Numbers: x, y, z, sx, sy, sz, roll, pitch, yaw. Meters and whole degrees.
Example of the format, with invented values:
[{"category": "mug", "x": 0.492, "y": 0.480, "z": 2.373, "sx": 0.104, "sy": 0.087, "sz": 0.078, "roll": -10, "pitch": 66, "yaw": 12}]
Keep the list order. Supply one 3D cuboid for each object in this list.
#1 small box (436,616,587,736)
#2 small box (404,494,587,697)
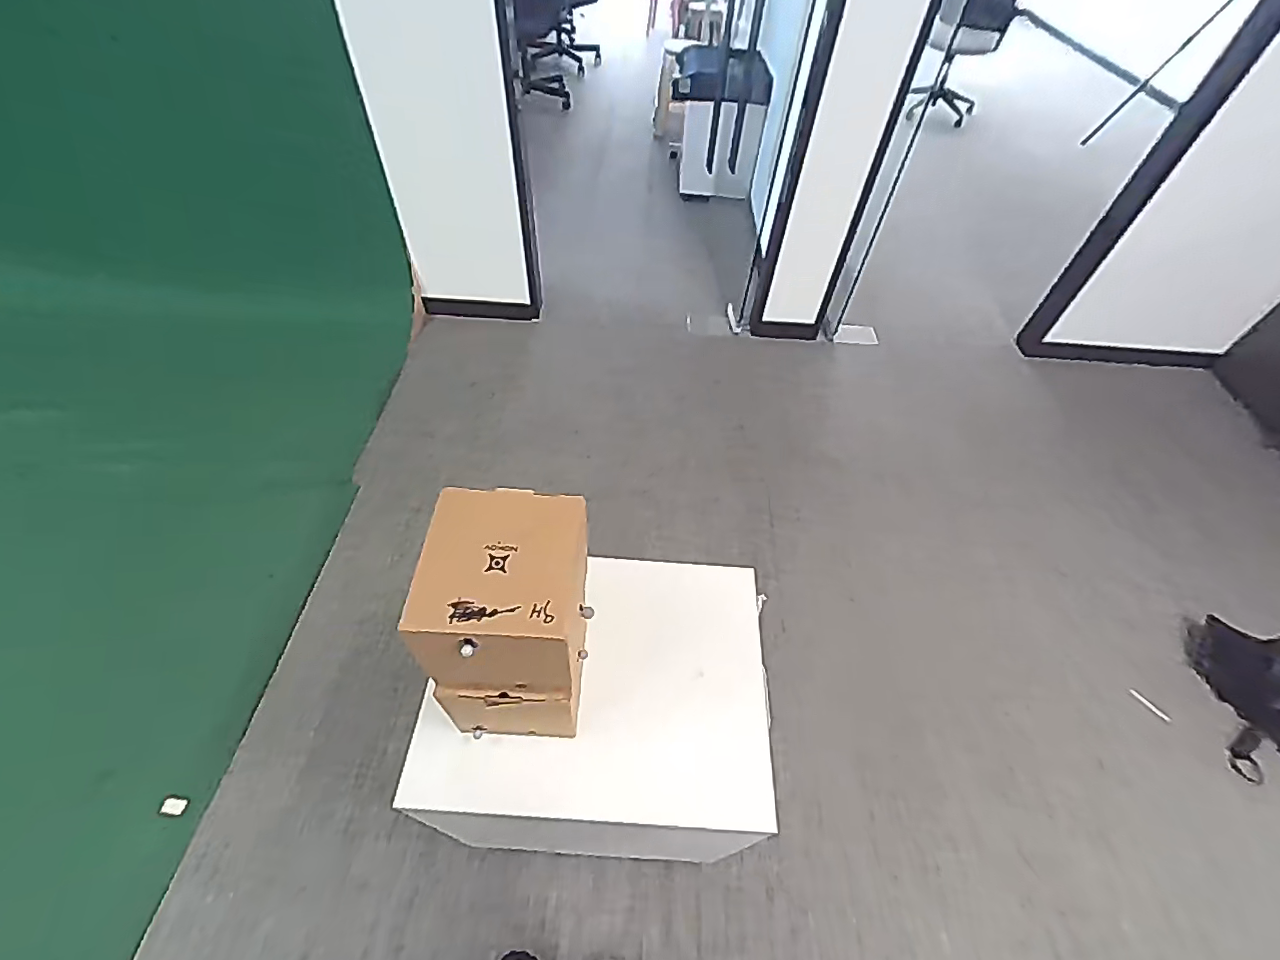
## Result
[{"category": "small box", "x": -0.165, "y": 0.249, "z": 0.763, "sx": 0.168, "sy": 0.176, "sz": 0.179, "roll": 3, "pitch": 50, "yaw": -1}, {"category": "small box", "x": -0.153, "y": 0.139, "z": 0.643, "sx": 0.168, "sy": 0.176, "sz": 0.179, "roll": 3, "pitch": 50, "yaw": -1}]
